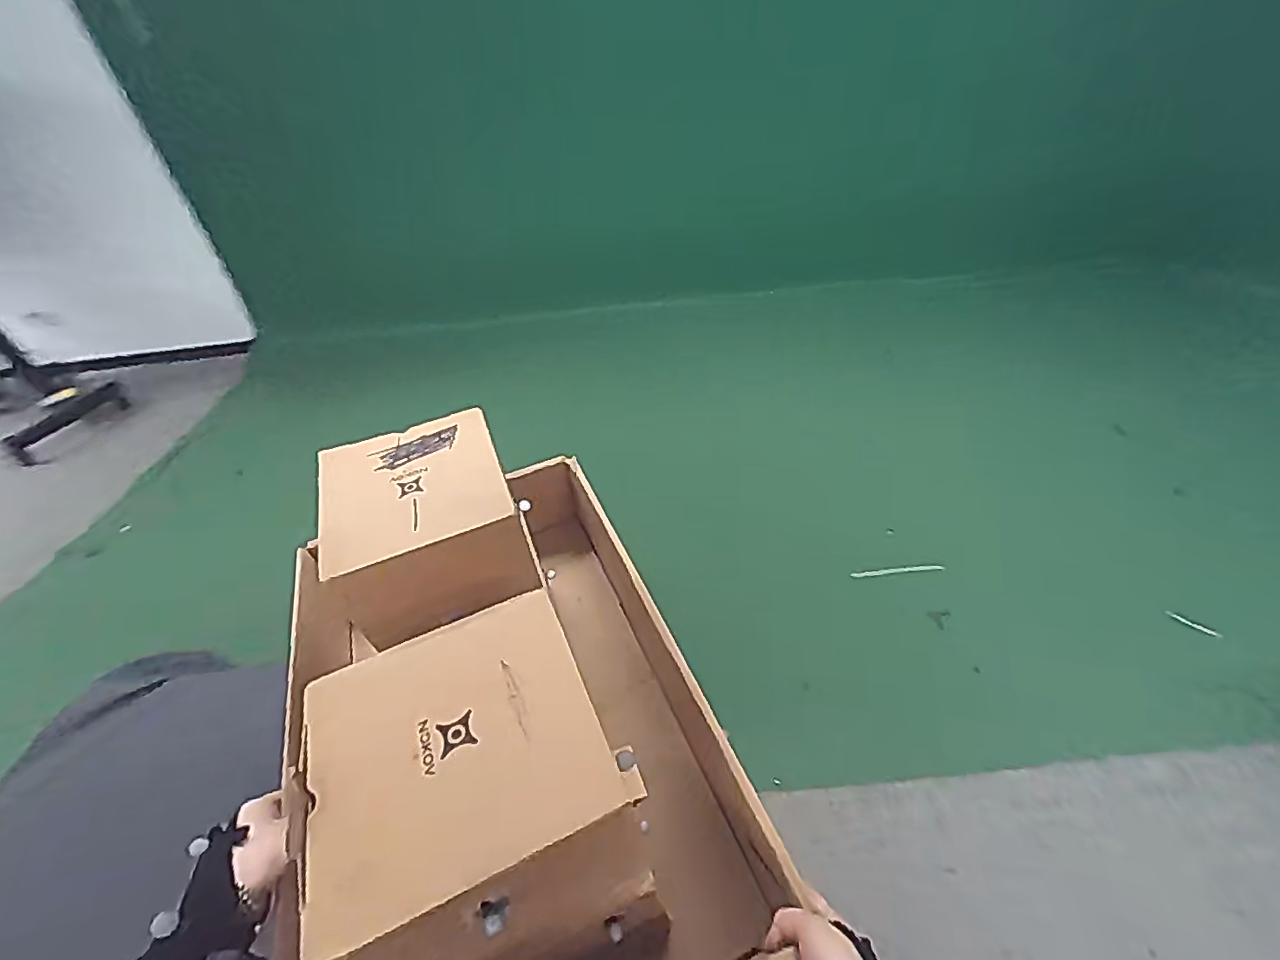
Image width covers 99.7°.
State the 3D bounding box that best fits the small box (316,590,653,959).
[{"bbox_3d":[-0.102,0.218,0.391,0.179,0.176,0.168,-20,45,-15],"label":"small box"}]

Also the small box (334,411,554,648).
[{"bbox_3d":[-0.196,0.060,0.566,0.168,0.176,0.179,-19,47,-13],"label":"small box"}]
